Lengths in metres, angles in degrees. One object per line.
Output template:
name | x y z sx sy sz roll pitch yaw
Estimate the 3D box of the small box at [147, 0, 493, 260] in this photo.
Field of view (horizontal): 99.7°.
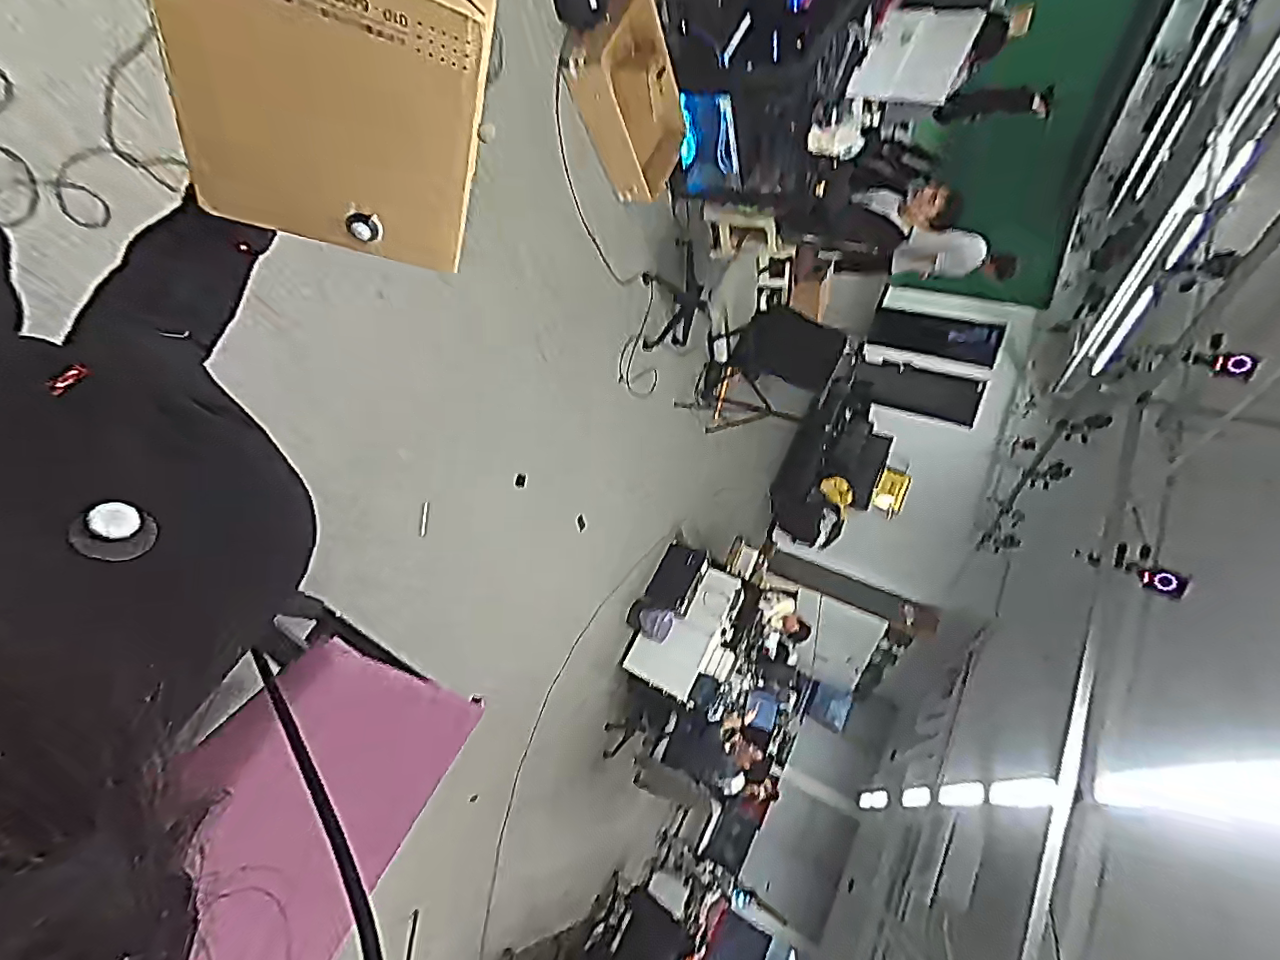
small box | -0.195 -0.292 0.367 0.176 0.168 0.179 123 -32 -48
